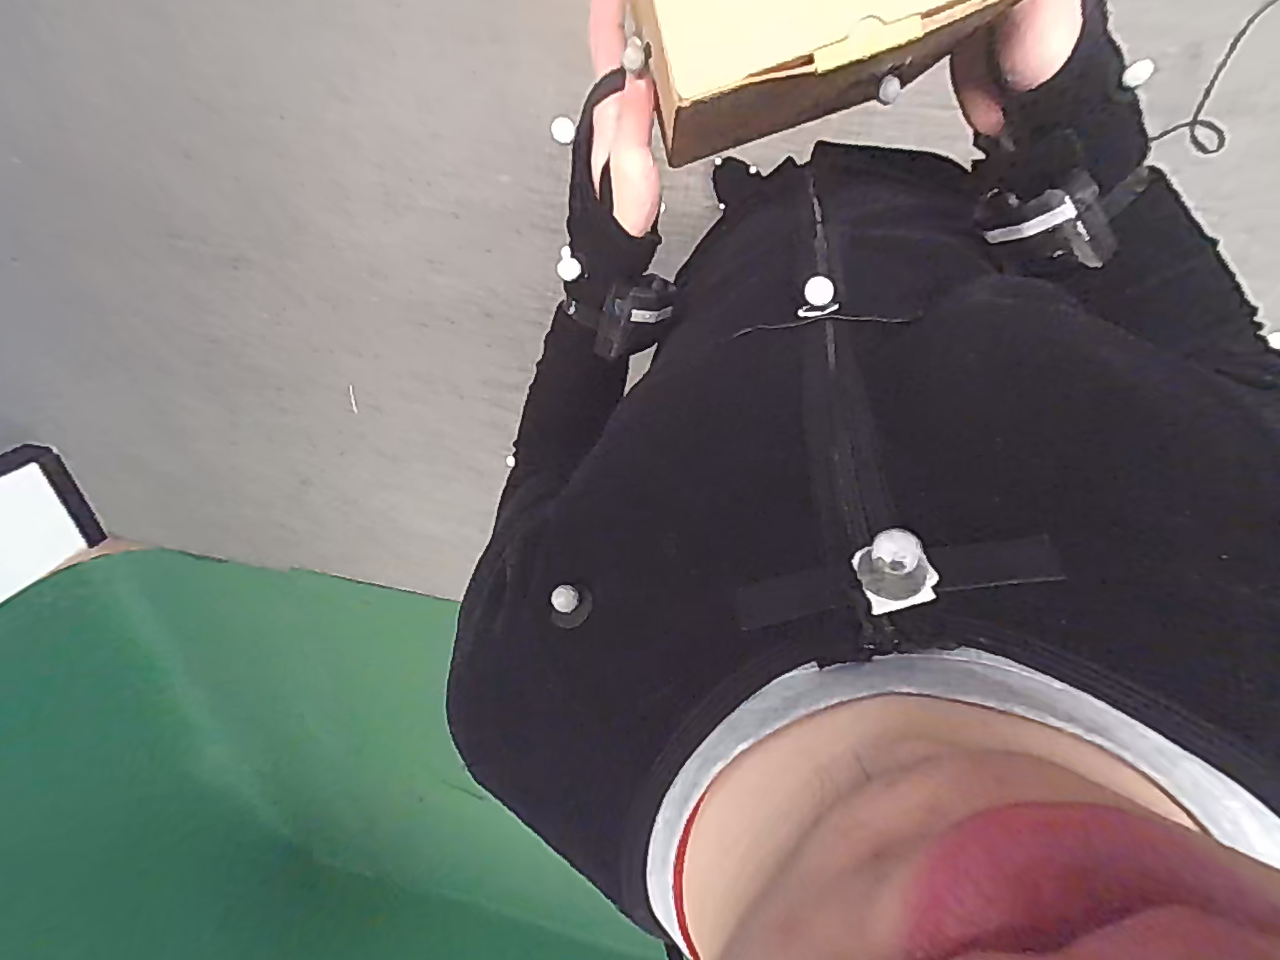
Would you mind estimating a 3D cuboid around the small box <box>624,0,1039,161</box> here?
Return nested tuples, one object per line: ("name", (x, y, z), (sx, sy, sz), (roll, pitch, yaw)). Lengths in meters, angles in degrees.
("small box", (0.072, -0.287, 0.277), (0.168, 0.176, 0.179), (-15, 109, 7))
